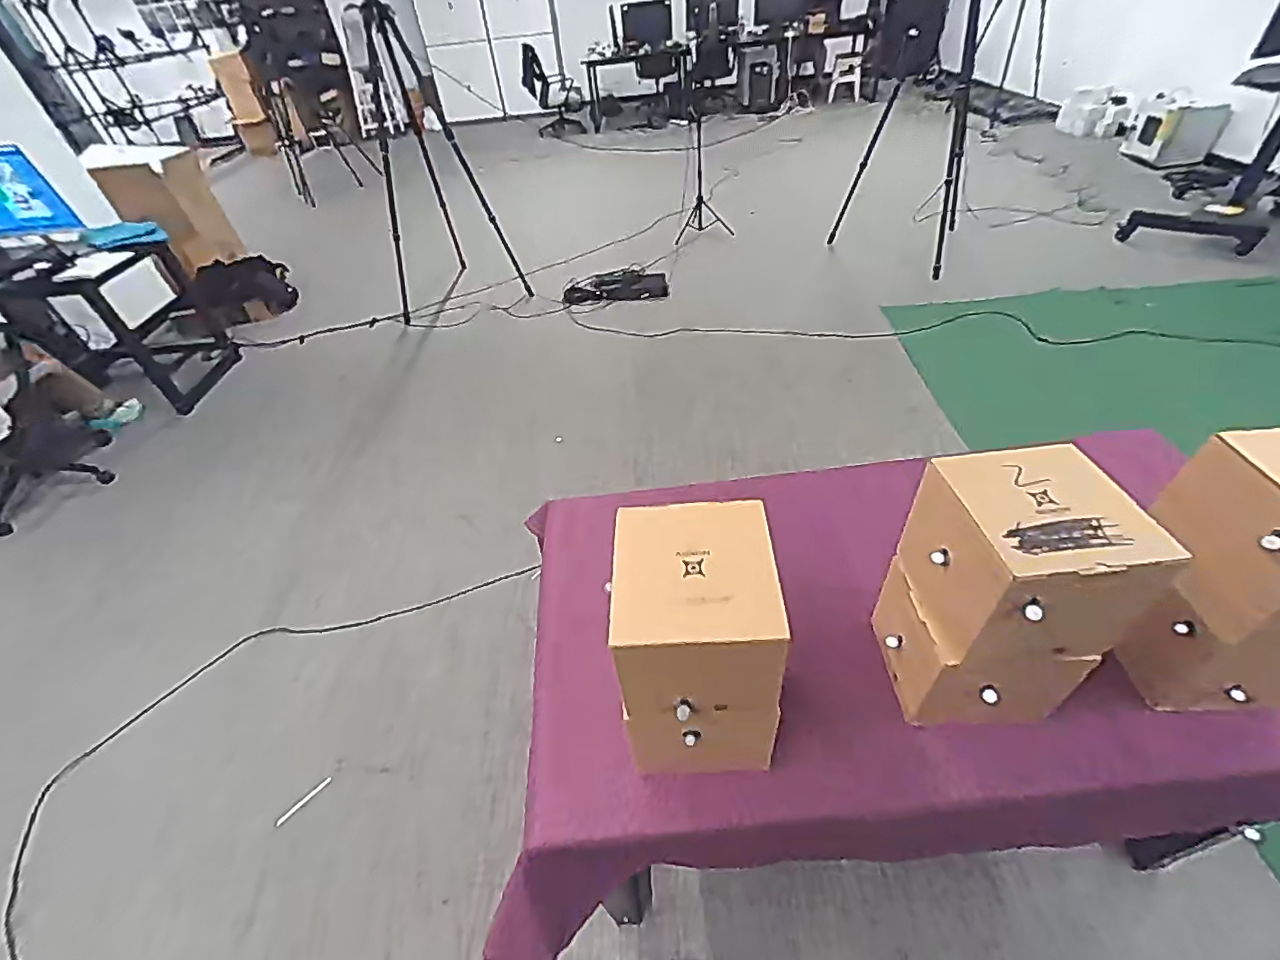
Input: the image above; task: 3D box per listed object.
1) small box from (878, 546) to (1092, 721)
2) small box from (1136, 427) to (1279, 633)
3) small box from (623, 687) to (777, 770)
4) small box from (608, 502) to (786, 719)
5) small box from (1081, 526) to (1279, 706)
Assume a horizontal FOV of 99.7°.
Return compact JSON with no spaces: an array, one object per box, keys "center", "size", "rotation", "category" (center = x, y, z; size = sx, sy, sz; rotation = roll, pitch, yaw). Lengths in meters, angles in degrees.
[{"center":[0.436,0.209,0.726],"size":[0.179,0.176,0.168],"rotation":[-4,43,5],"category":"small box"},{"center":[0.730,0.058,0.604],"size":[0.168,0.176,0.179],"rotation":[-4,43,3],"category":"small box"},{"center":[0.075,0.267,0.715],"size":[0.179,0.176,0.168],"rotation":[-4,43,3],"category":"small box"},{"center":[0.061,0.146,0.607],"size":[0.168,0.176,0.179],"rotation":[-3,43,5],"category":"small box"},{"center":[0.745,0.177,0.717],"size":[0.168,0.176,0.179],"rotation":[-3,44,5],"category":"small box"}]
